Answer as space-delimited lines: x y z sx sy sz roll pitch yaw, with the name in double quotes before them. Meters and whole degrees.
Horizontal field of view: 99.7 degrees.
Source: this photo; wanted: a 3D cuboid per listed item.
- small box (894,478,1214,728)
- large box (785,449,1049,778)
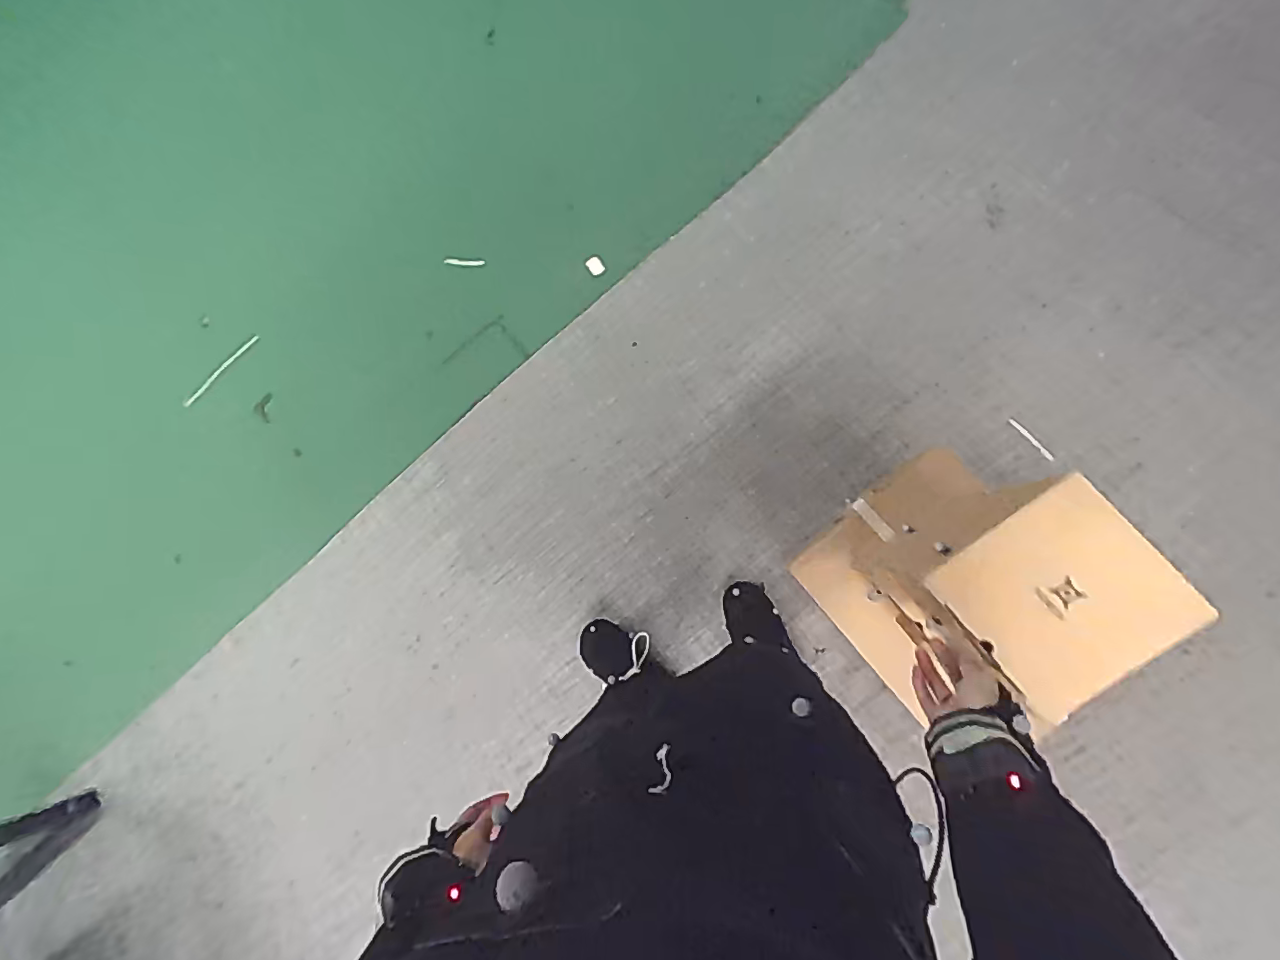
"small box" 0.405 0.117 0.573 0.179 0.176 0.168 -39 77 8
"large box" 0.511 0.207 0.959 0.320 0.320 0.408 -41 77 7
